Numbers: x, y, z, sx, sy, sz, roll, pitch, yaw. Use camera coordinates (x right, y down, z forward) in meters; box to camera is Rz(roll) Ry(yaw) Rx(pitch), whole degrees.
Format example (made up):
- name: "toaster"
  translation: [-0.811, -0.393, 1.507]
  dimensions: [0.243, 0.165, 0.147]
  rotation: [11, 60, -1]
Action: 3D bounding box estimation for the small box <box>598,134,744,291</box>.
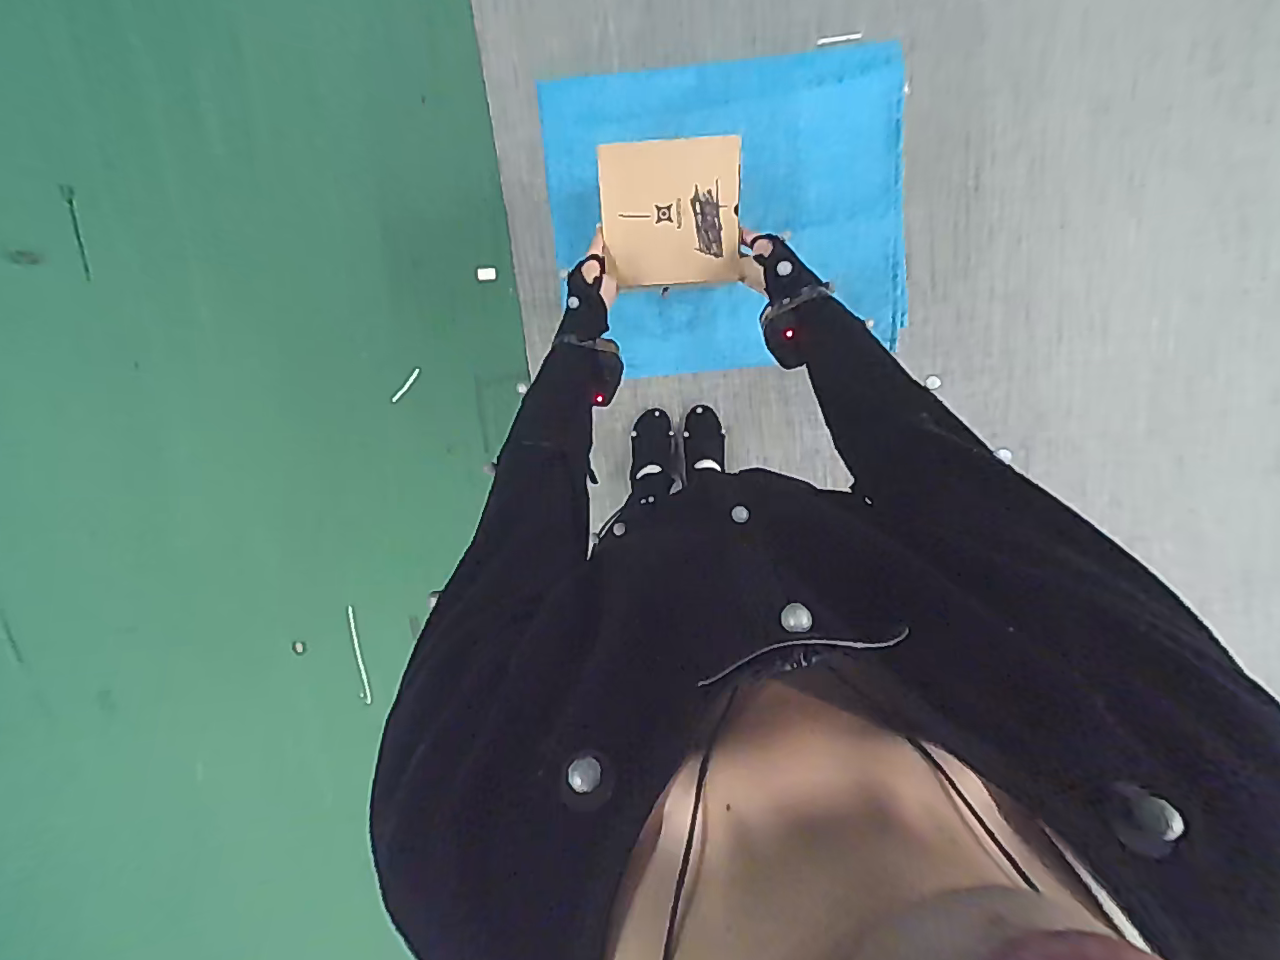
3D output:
- name: "small box"
  translation: [0.040, -0.351, 0.739]
  dimensions: [0.179, 0.176, 0.168]
  rotation: [-2, 105, 2]
